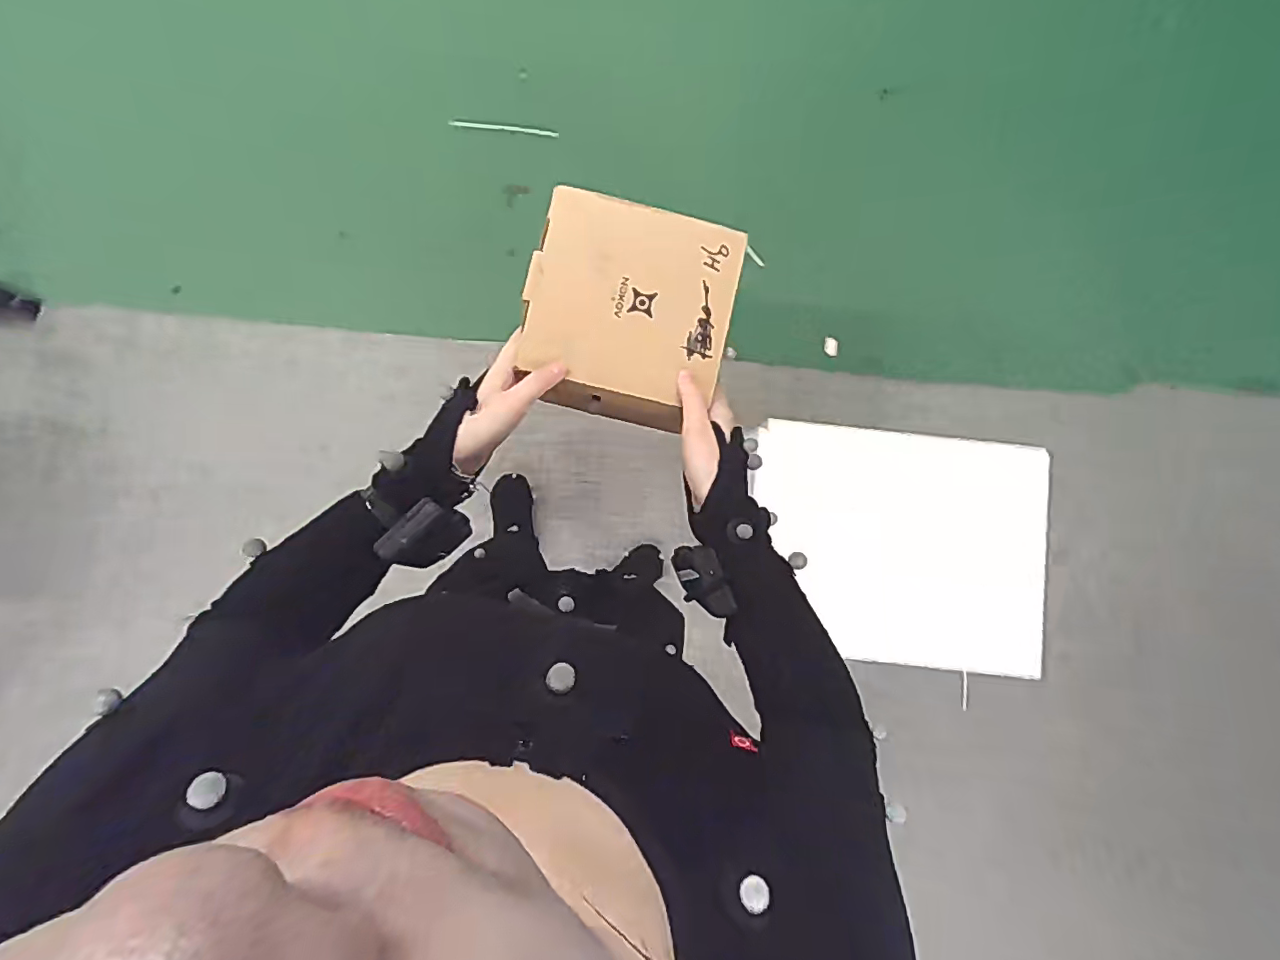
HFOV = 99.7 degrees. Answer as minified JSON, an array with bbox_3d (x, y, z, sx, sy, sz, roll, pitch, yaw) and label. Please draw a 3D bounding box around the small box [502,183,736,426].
[{"bbox_3d":[-0.021,-0.157,0.545,0.179,0.176,0.168,12,87,-3],"label":"small box"}]
